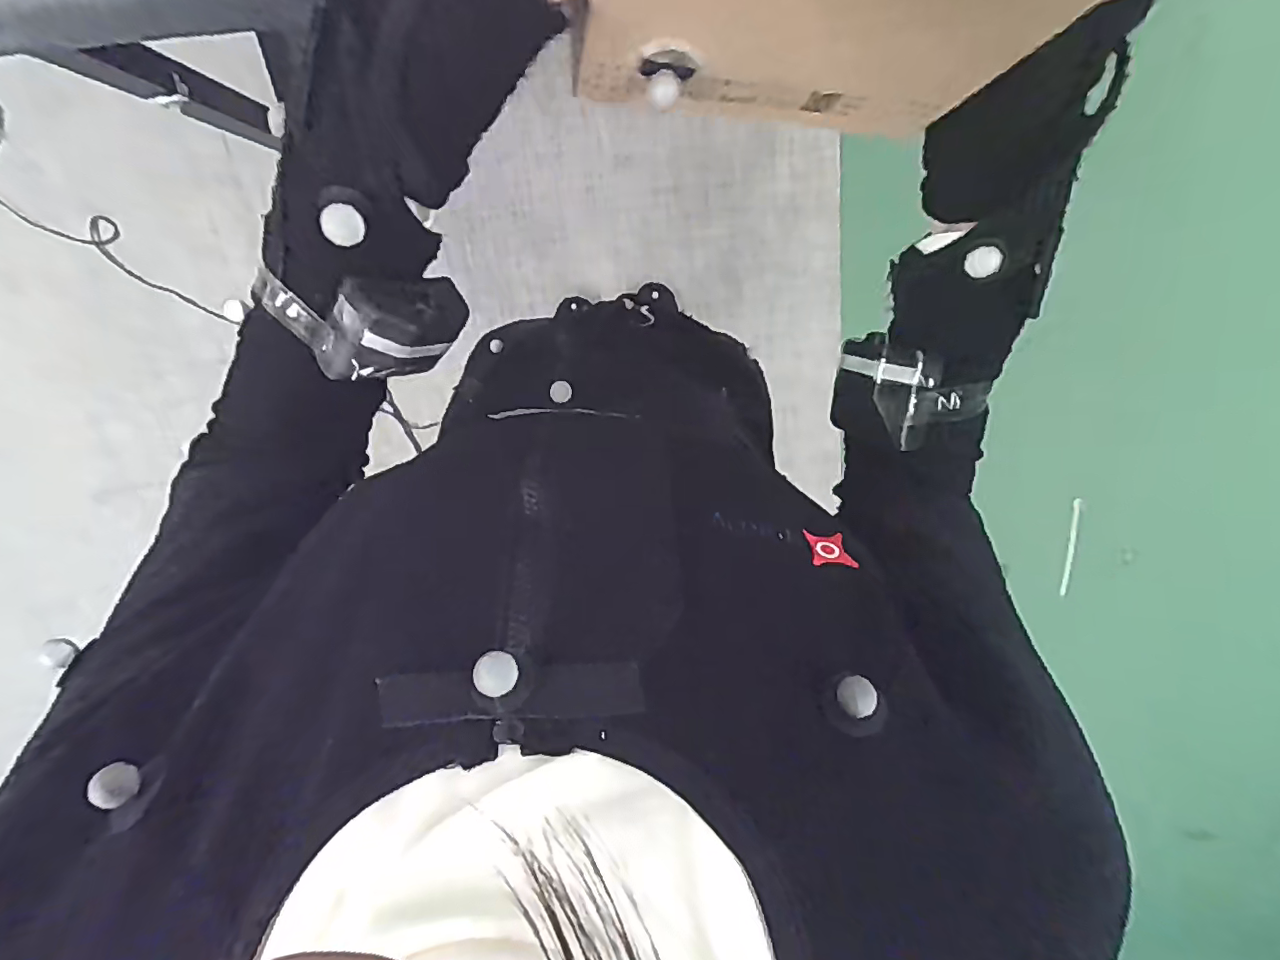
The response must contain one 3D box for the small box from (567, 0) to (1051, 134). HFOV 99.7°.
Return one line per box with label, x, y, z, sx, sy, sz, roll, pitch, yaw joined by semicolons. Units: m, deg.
small box;0.065;-0.242;0.166;0.168;0.176;0.179;-2;96;-12
